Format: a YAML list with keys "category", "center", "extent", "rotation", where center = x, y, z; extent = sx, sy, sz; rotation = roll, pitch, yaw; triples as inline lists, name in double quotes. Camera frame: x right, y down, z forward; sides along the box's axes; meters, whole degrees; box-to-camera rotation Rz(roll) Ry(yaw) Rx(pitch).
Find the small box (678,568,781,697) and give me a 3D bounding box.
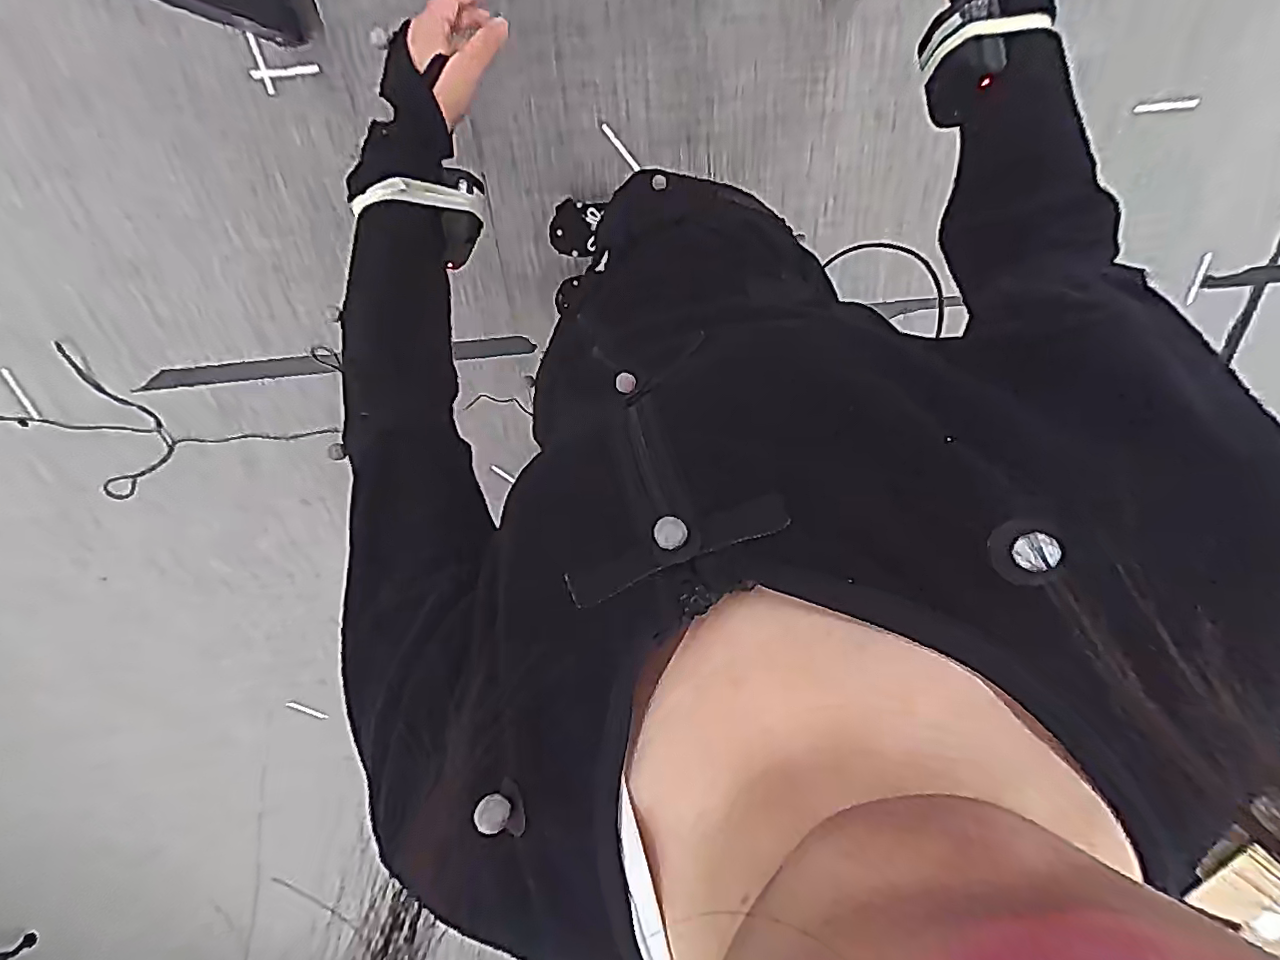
- category: "small box"
  center: [0.168, 0.296, 1.060]
  extent: [0.168, 0.176, 0.179]
  rotation: [-6, 122, -2]
